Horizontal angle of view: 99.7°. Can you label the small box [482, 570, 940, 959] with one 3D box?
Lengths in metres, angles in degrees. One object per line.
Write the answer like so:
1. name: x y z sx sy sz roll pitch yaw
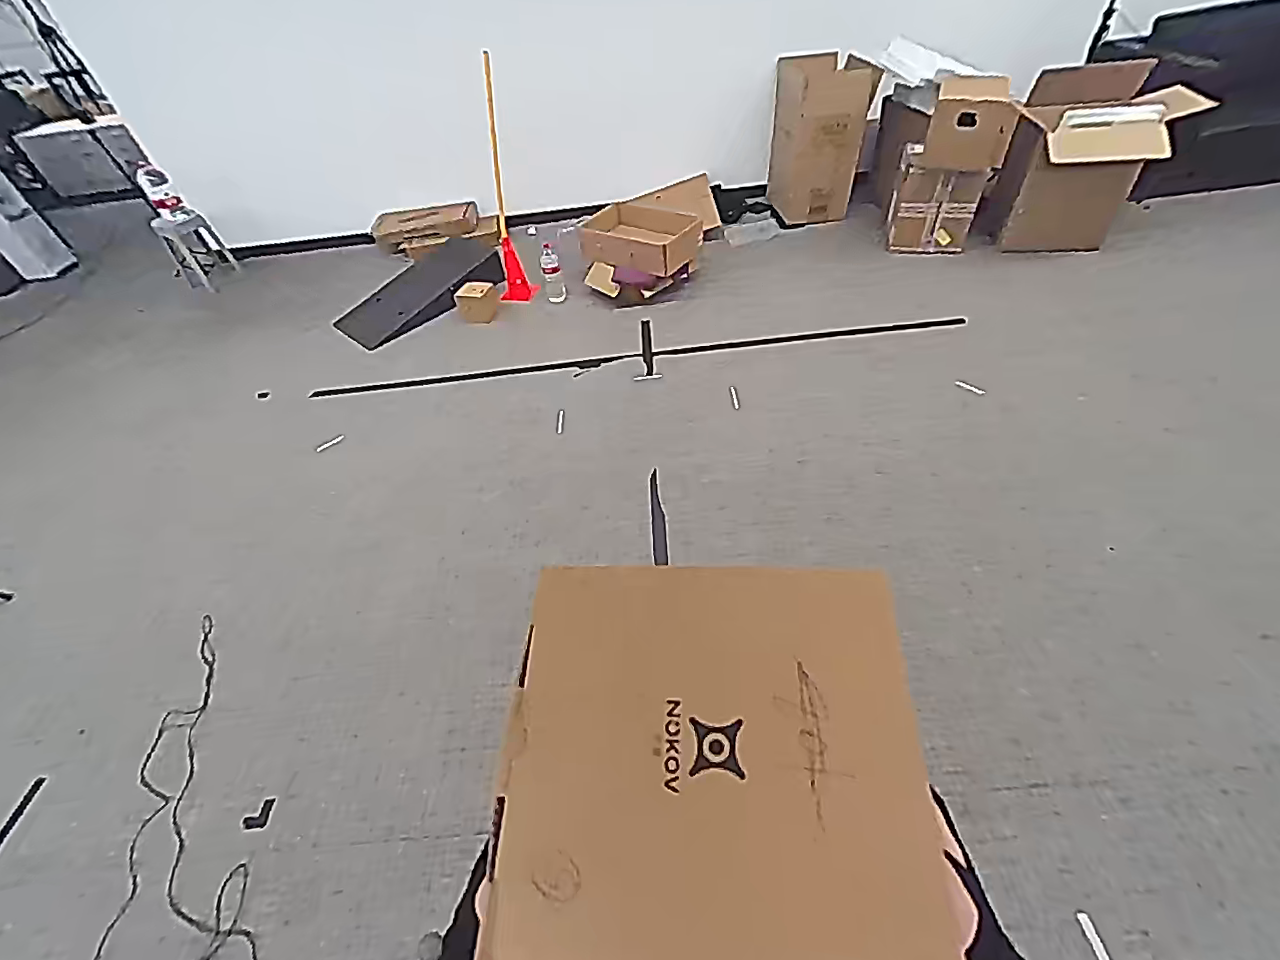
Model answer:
1. small box: 0.036 0.161 0.310 0.179 0.176 0.168 -1 58 6
